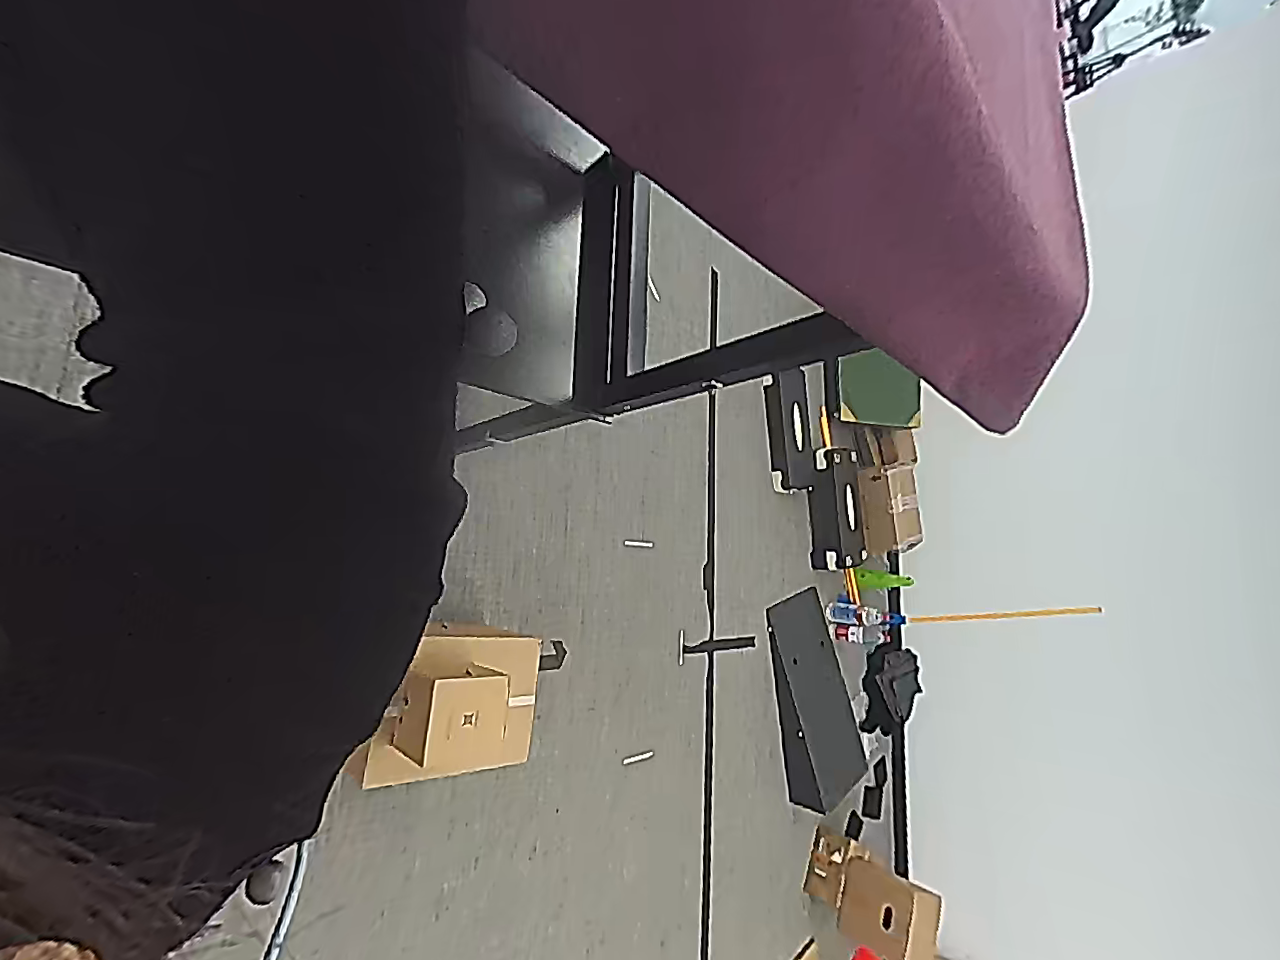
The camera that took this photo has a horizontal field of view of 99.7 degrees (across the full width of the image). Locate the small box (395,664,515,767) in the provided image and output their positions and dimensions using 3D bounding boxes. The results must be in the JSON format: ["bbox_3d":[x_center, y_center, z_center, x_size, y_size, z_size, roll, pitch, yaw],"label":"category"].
[{"bbox_3d":[-0.396,0.493,1.159,0.179,0.176,0.168,15,73,-41],"label":"small box"}]

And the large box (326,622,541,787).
[{"bbox_3d":[-0.520,0.533,1.378,0.408,0.320,0.320,15,76,-43],"label":"large box"}]
